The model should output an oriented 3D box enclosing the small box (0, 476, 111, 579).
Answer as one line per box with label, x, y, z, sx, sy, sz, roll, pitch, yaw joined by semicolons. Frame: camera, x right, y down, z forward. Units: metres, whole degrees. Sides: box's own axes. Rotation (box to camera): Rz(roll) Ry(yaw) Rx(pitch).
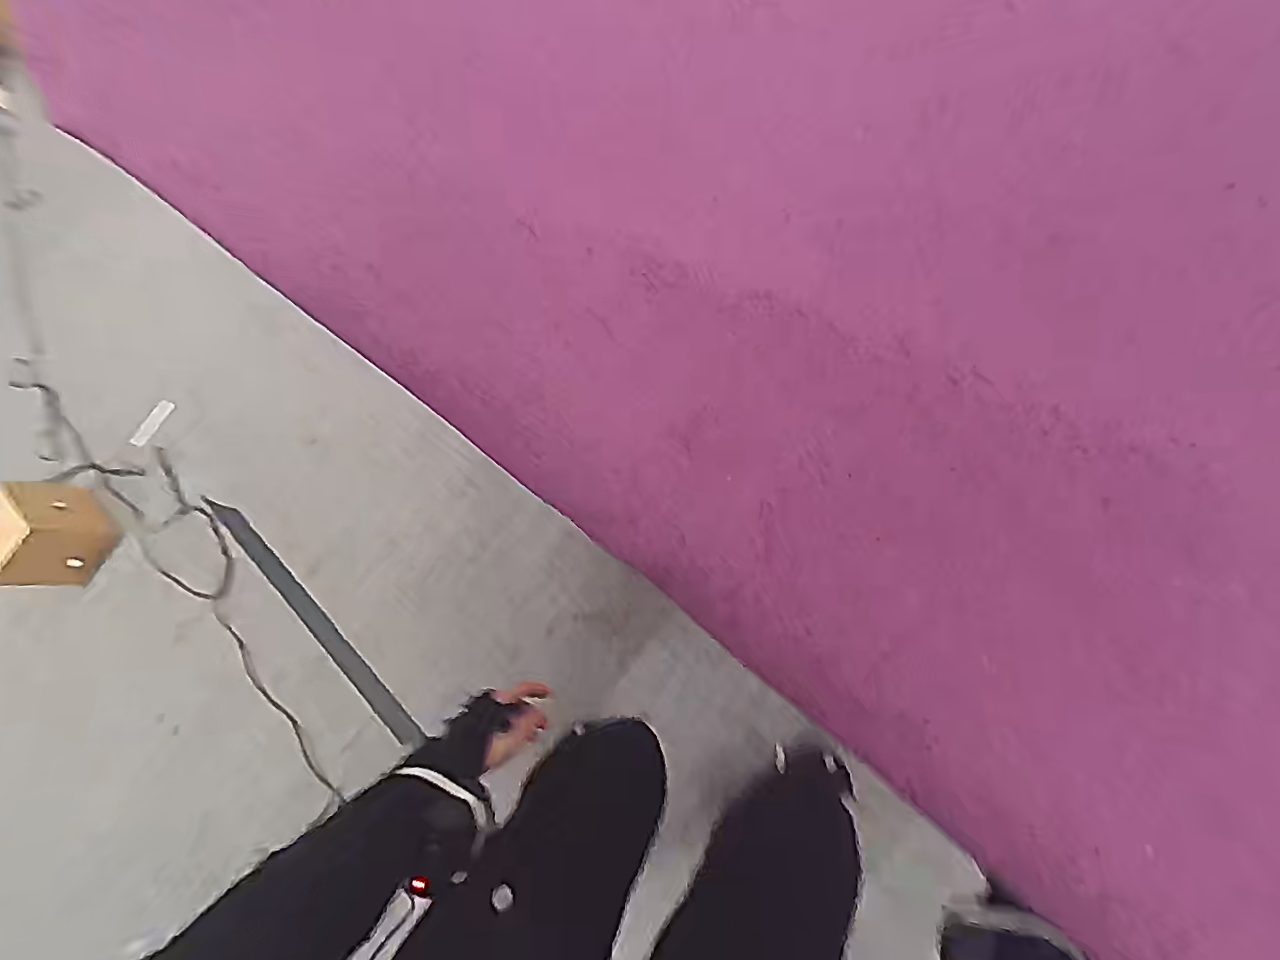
small box;-1.389;0.116;1.237;0.179;0.176;0.168;38;91;15
